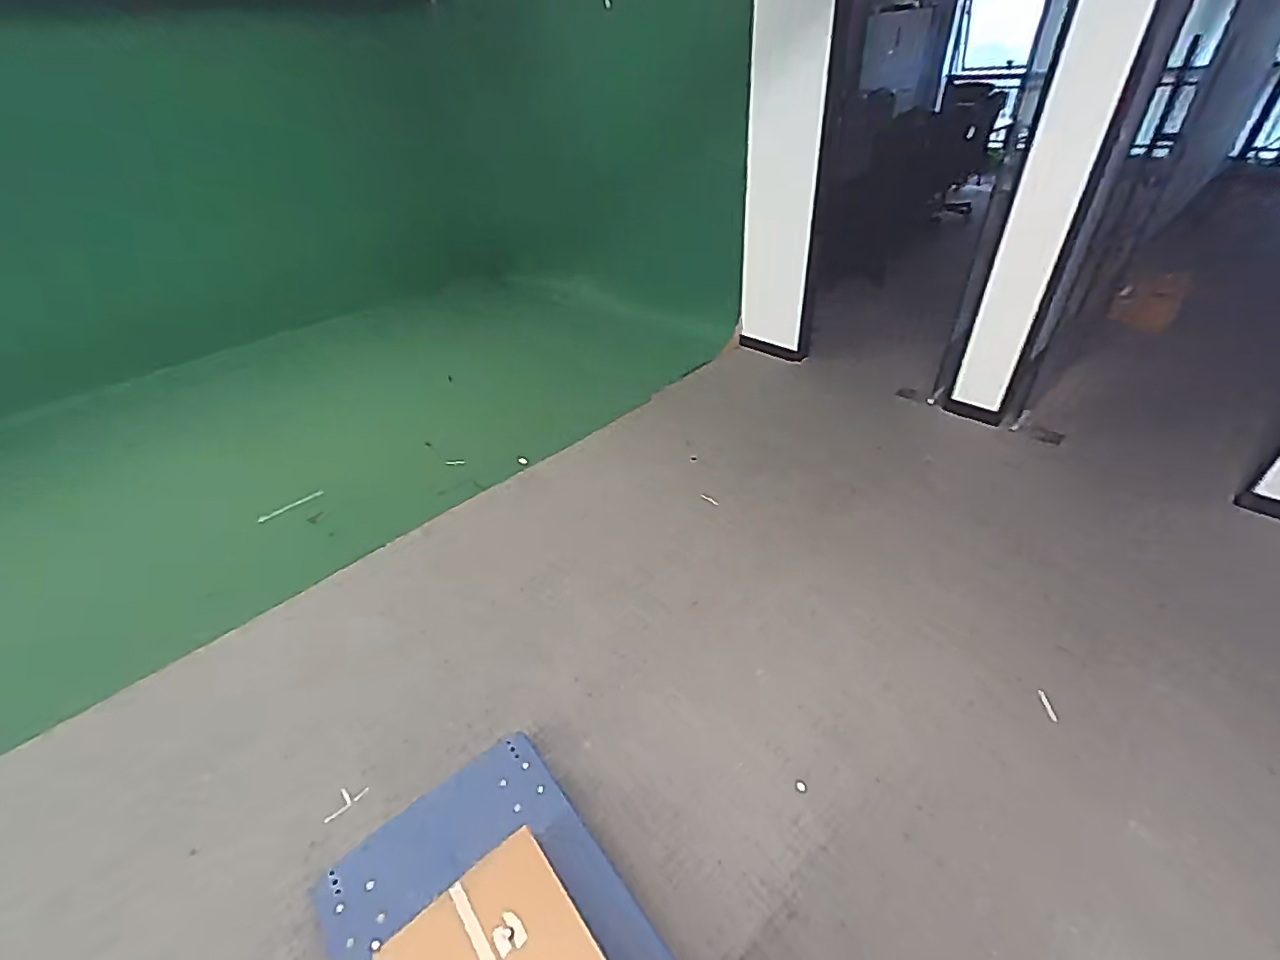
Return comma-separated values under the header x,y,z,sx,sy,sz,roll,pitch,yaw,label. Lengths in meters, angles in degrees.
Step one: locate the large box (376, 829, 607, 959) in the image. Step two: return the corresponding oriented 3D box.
x,y,z,sx,sy,sz,roll,pitch,yaw,label
-0.212,0.971,0.989,0.320,0.320,0.408,-29,43,-28,large box
